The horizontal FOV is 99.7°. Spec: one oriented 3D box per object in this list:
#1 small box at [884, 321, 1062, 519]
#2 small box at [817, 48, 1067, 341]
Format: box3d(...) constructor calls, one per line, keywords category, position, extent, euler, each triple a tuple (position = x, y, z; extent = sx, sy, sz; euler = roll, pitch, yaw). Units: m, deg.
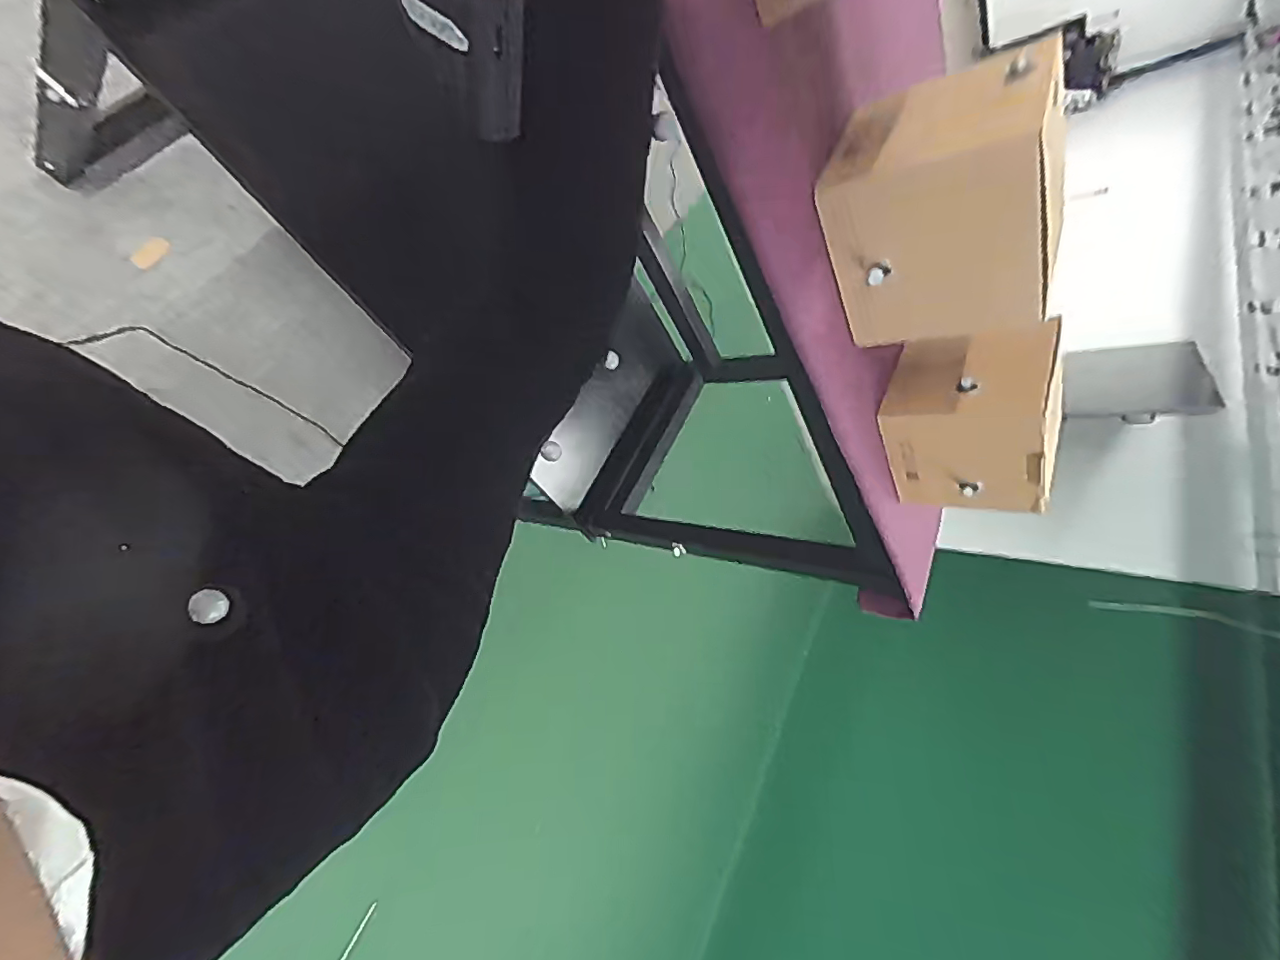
box3d(category="small box", position=(0.422, -0.074, 0.687), extent=(0.179, 0.176, 0.168), euler=(-57, 132, -30))
box3d(category="small box", position=(0.290, -0.250, 0.515), extent=(0.179, 0.176, 0.168), euler=(53, 54, -38))
